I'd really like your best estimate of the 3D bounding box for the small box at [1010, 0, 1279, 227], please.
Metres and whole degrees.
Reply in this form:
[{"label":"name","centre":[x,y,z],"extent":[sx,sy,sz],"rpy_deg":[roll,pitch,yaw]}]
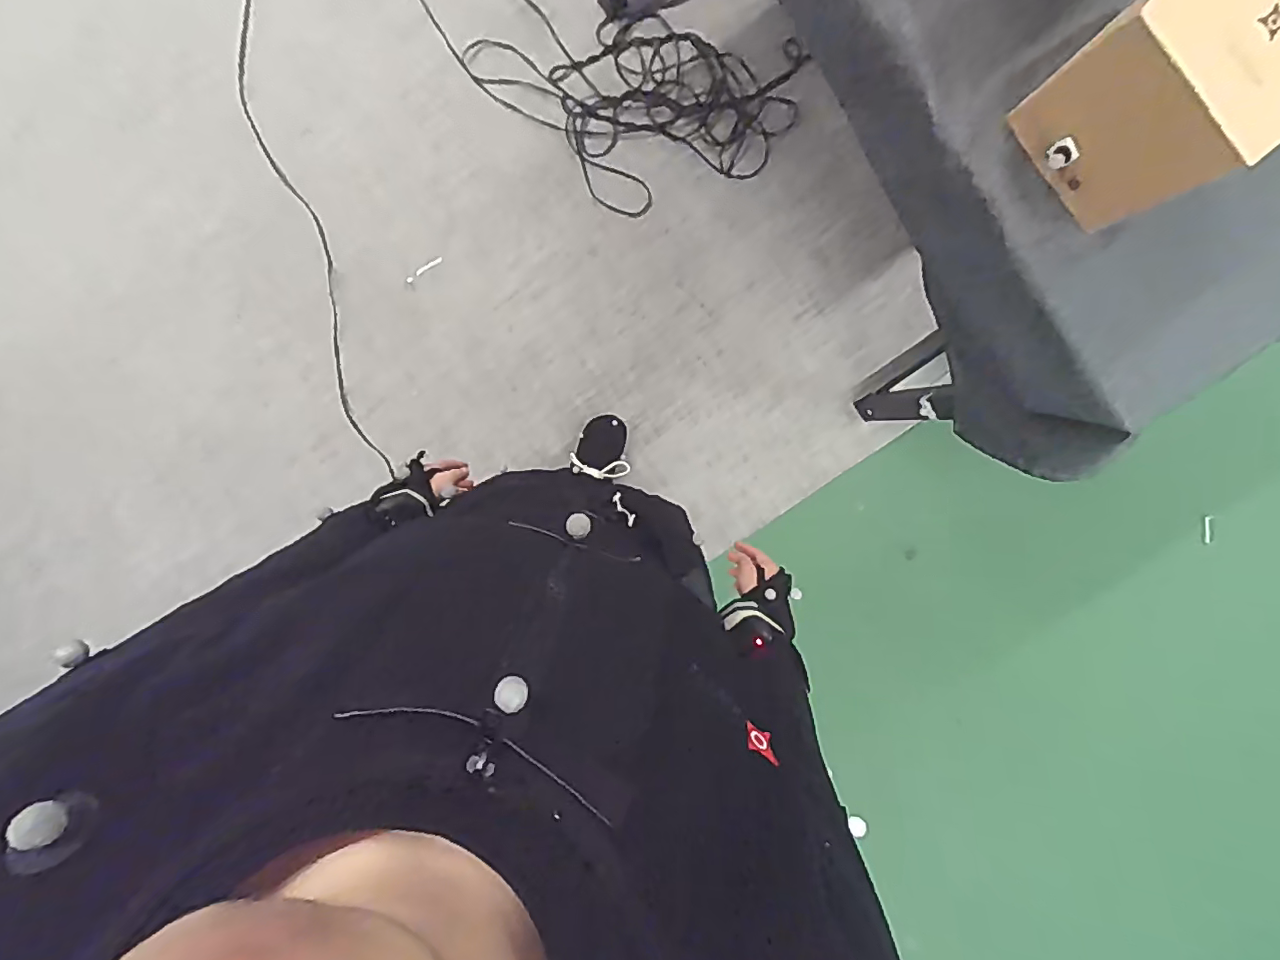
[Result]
[{"label":"small box","centre":[0.524,-0.392,0.529],"extent":[0.179,0.176,0.168],"rpy_deg":[-42,95,3]}]
